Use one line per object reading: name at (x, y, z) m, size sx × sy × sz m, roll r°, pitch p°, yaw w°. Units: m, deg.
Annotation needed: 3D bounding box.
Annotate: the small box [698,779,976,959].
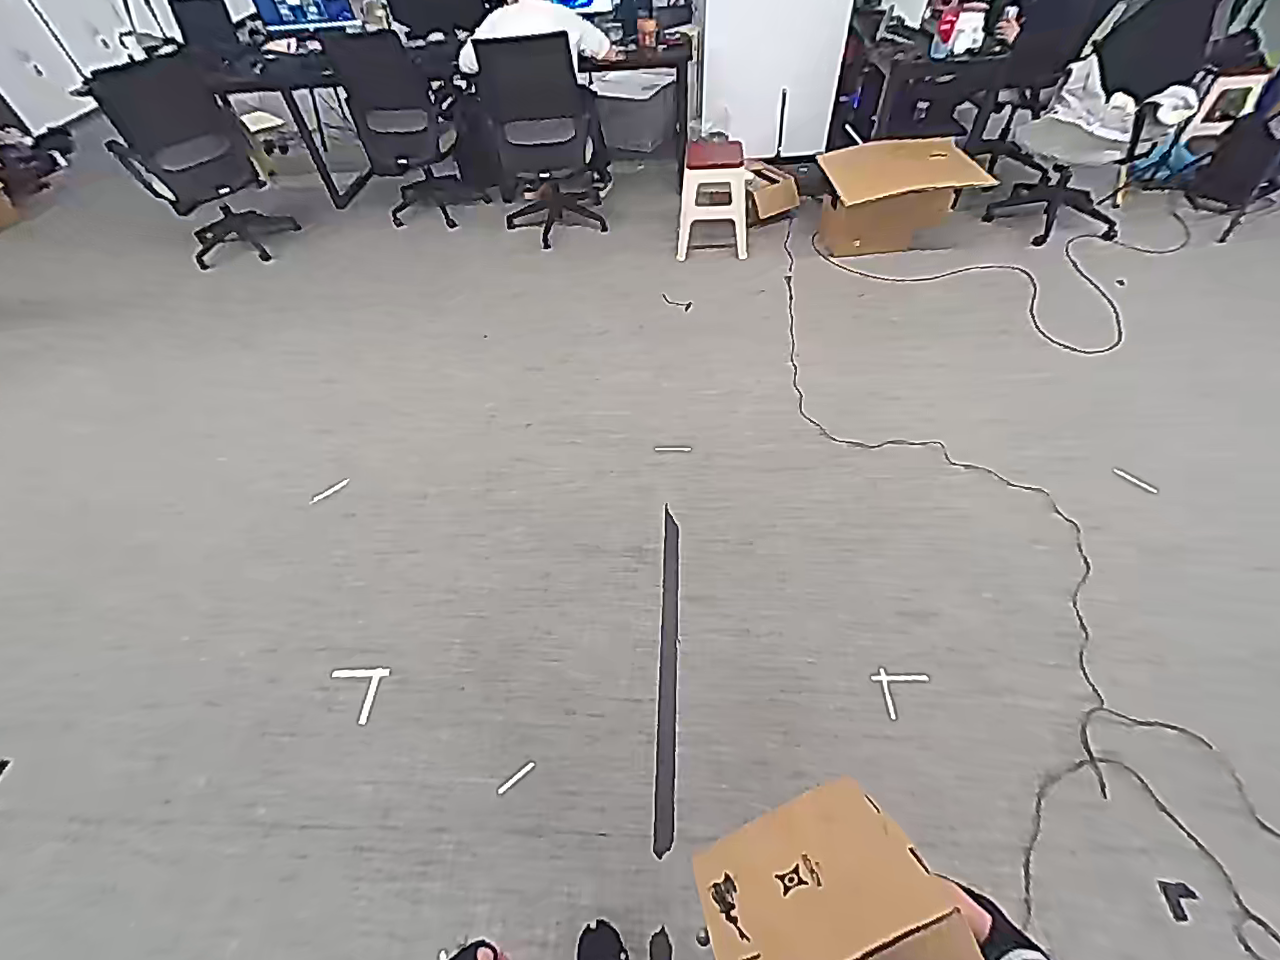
small box at (0.173, 0.408, 0.459) m, size 0.179 × 0.168 × 0.176 m, roll -25°, pitch 92°, yaw -4°
